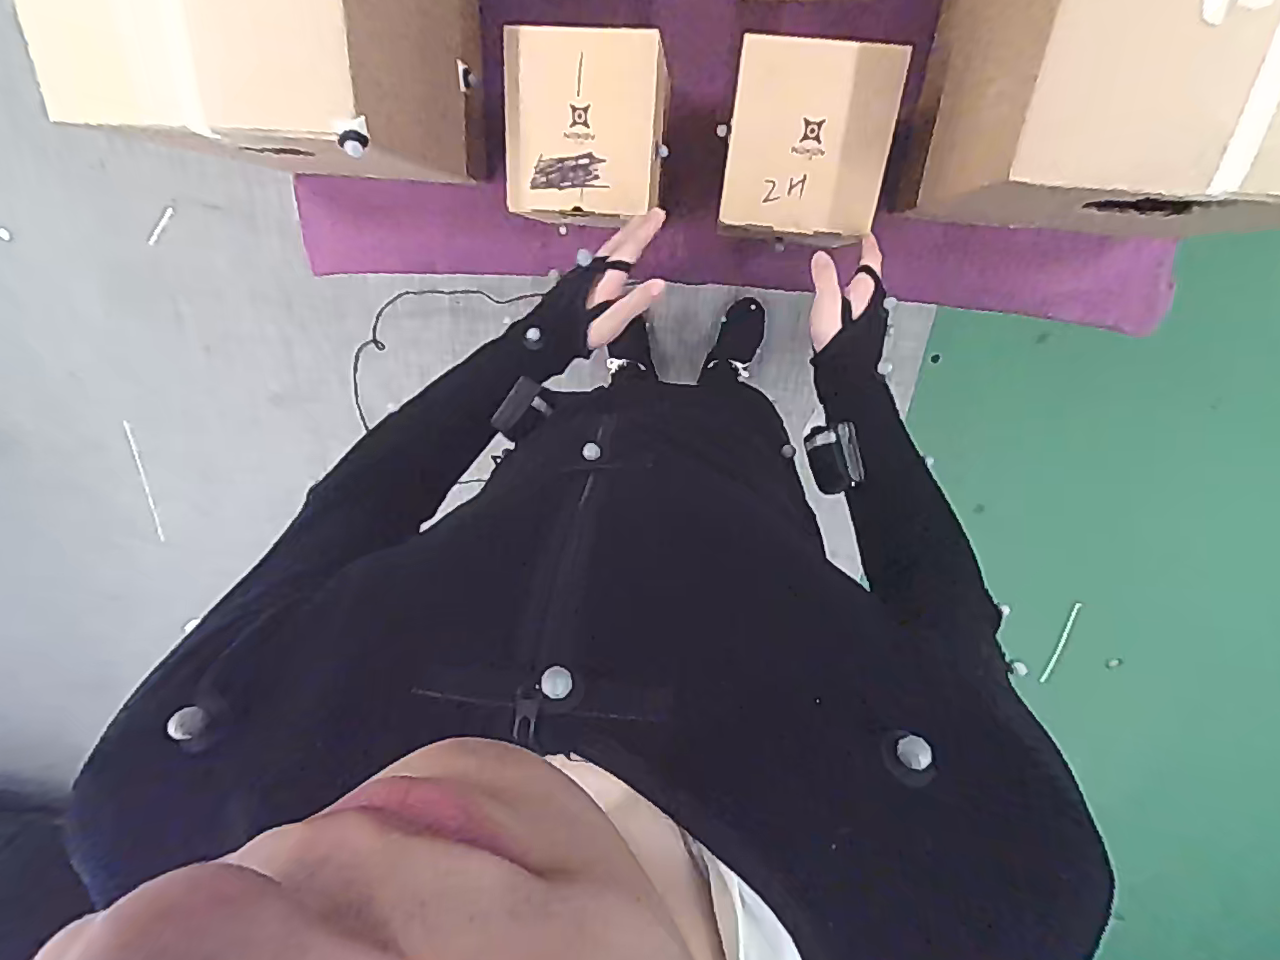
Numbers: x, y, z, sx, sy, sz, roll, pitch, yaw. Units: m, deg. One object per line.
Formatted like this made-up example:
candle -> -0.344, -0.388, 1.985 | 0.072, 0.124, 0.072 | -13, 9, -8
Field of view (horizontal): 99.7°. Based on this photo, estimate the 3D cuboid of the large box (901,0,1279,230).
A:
large box -> 0.487, -0.465, 0.494 | 0.320, 0.320, 0.408 | 7, 113, 5
